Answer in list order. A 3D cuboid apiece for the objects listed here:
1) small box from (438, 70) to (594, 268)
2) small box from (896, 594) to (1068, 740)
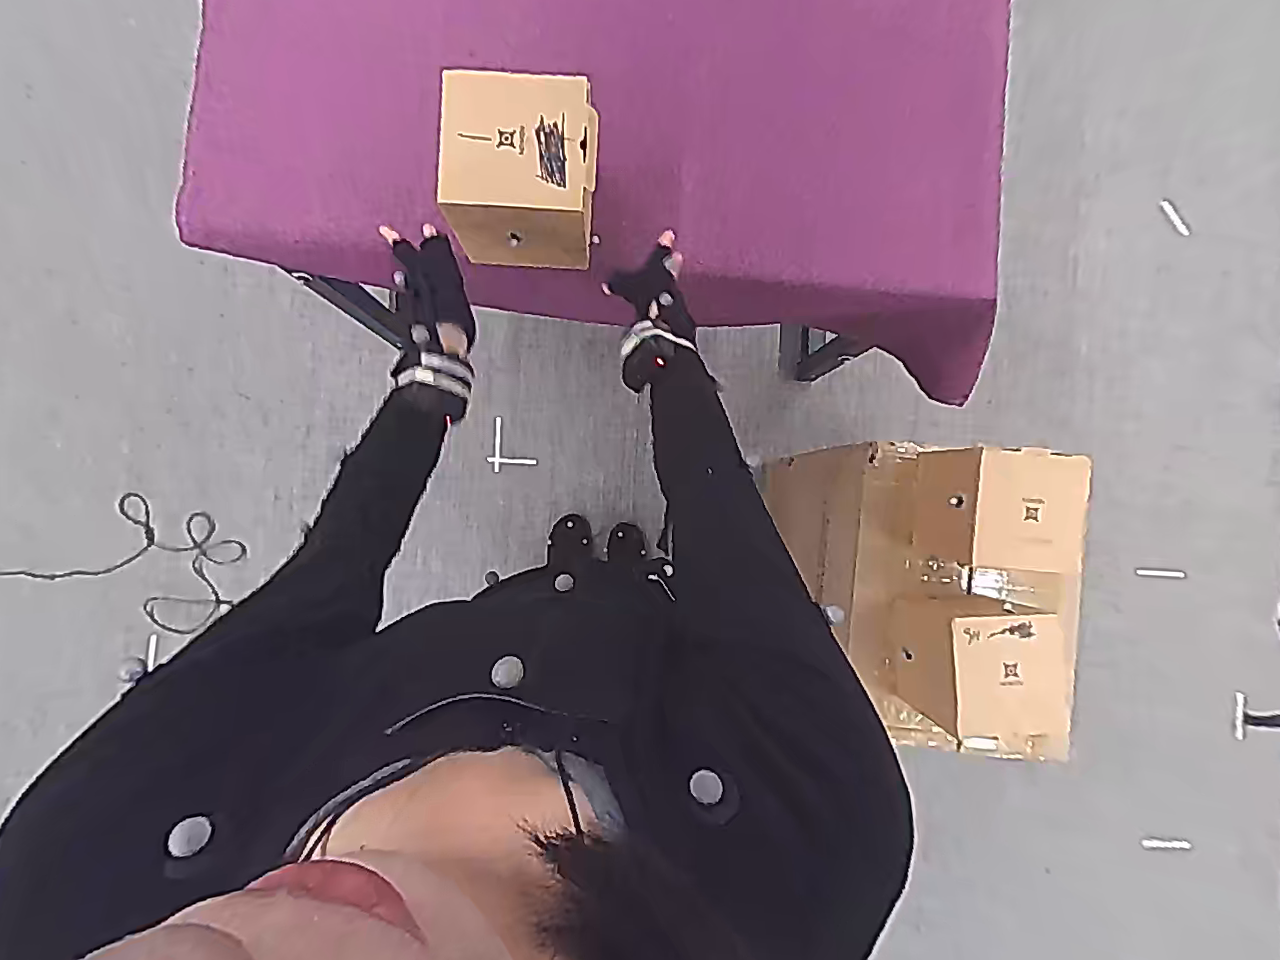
[{"bbox_3d":[-0.153,-0.400,0.725,0.179,0.176,0.168,2,87,-3],"label":"small box"},{"bbox_3d":[0.524,0.283,0.849,0.168,0.176,0.179,-2,88,-2],"label":"small box"}]
